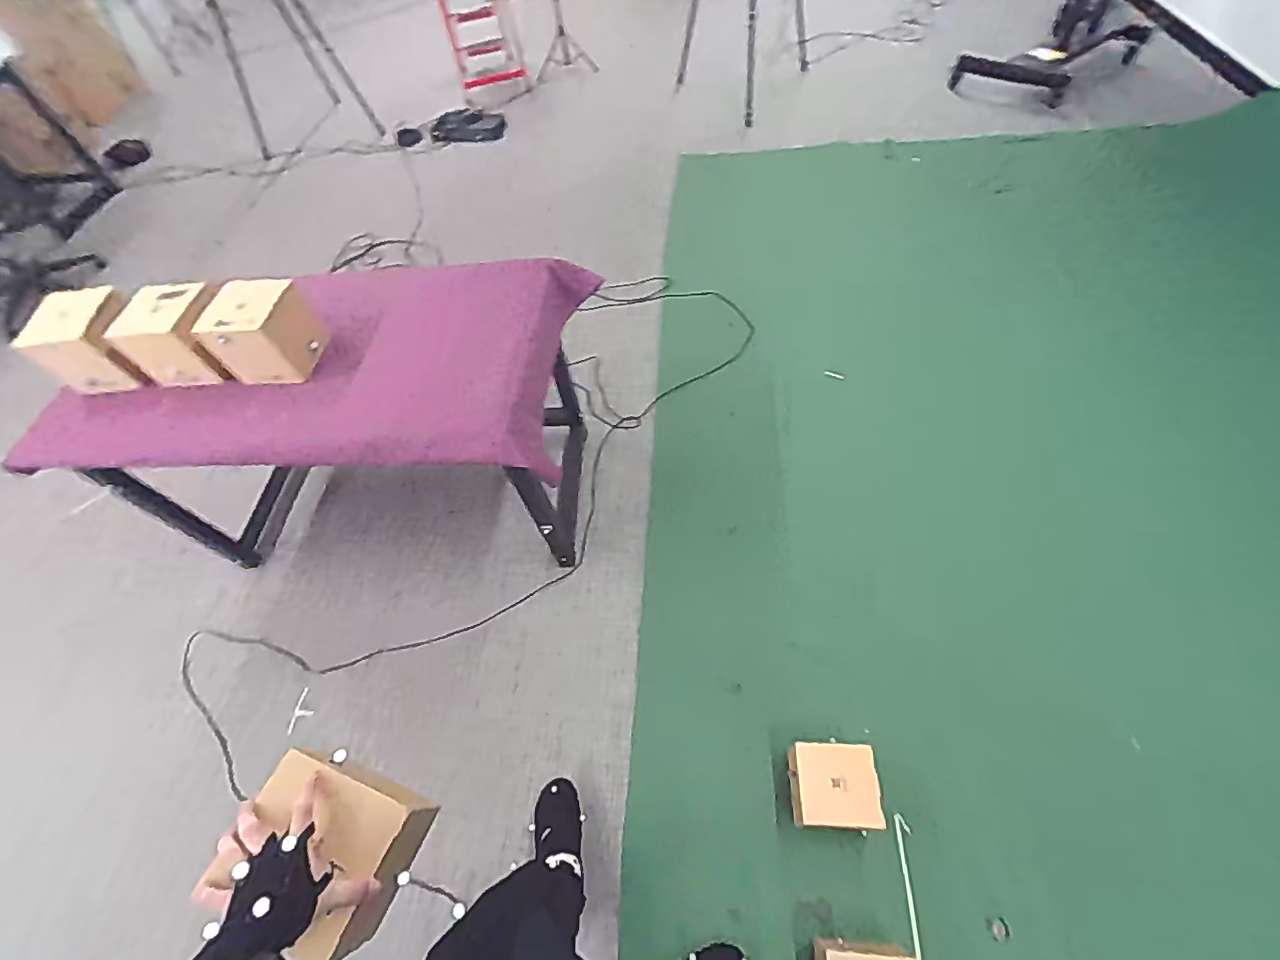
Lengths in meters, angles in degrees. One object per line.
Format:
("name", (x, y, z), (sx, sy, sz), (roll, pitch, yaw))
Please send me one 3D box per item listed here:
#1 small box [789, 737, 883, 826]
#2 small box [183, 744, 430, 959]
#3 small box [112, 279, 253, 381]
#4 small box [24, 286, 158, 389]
("small box", (0.450, 0.713, 1.275), (0.179, 0.176, 0.168), (-1, 57, 7))
("small box", (-0.405, 0.465, 0.695), (0.179, 0.176, 0.168), (22, 61, 7))
("small box", (-1.096, -0.363, 1.318), (0.168, 0.176, 0.179), (-2, 58, 7))
("small box", (-1.322, -0.350, 1.340), (0.168, 0.176, 0.179), (-6, 57, 5))
